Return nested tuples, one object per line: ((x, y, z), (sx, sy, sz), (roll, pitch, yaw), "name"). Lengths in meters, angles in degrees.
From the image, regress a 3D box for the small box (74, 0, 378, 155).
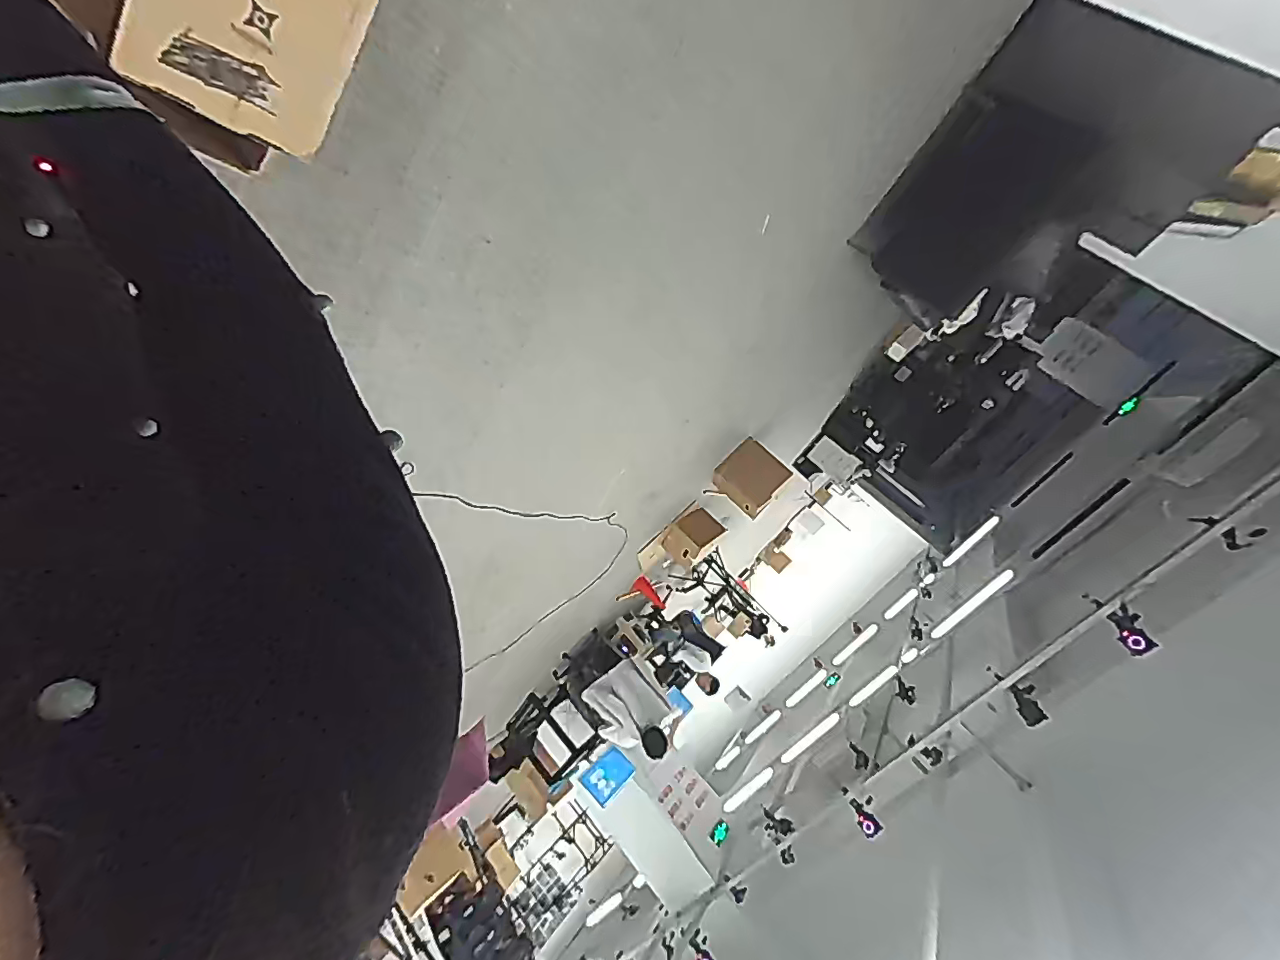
((-0.385, -0.455, 0.495), (0.179, 0.176, 0.168), (-52, 159, 20), "small box")

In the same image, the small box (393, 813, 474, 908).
((-0.712, 1.299, 1.854), (0.179, 0.176, 0.168), (-13, 144, -57), "small box")
